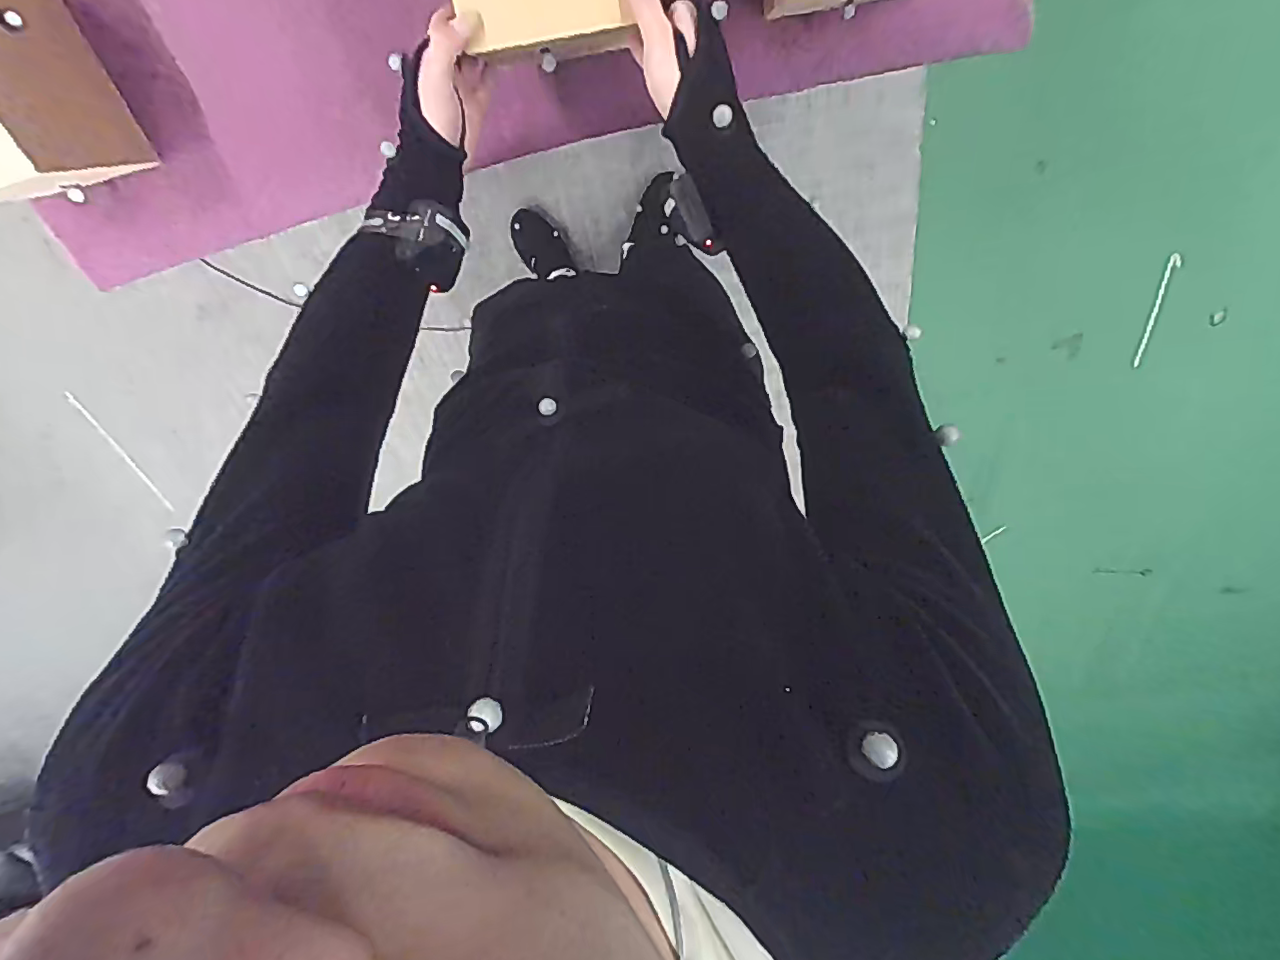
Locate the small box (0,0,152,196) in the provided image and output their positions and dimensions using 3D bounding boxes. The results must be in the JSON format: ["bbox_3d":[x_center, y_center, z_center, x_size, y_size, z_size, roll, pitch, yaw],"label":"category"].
[{"bbox_3d":[-0.698,-0.409,0.570,0.168,0.176,0.179,-9,123,8],"label":"small box"}]
